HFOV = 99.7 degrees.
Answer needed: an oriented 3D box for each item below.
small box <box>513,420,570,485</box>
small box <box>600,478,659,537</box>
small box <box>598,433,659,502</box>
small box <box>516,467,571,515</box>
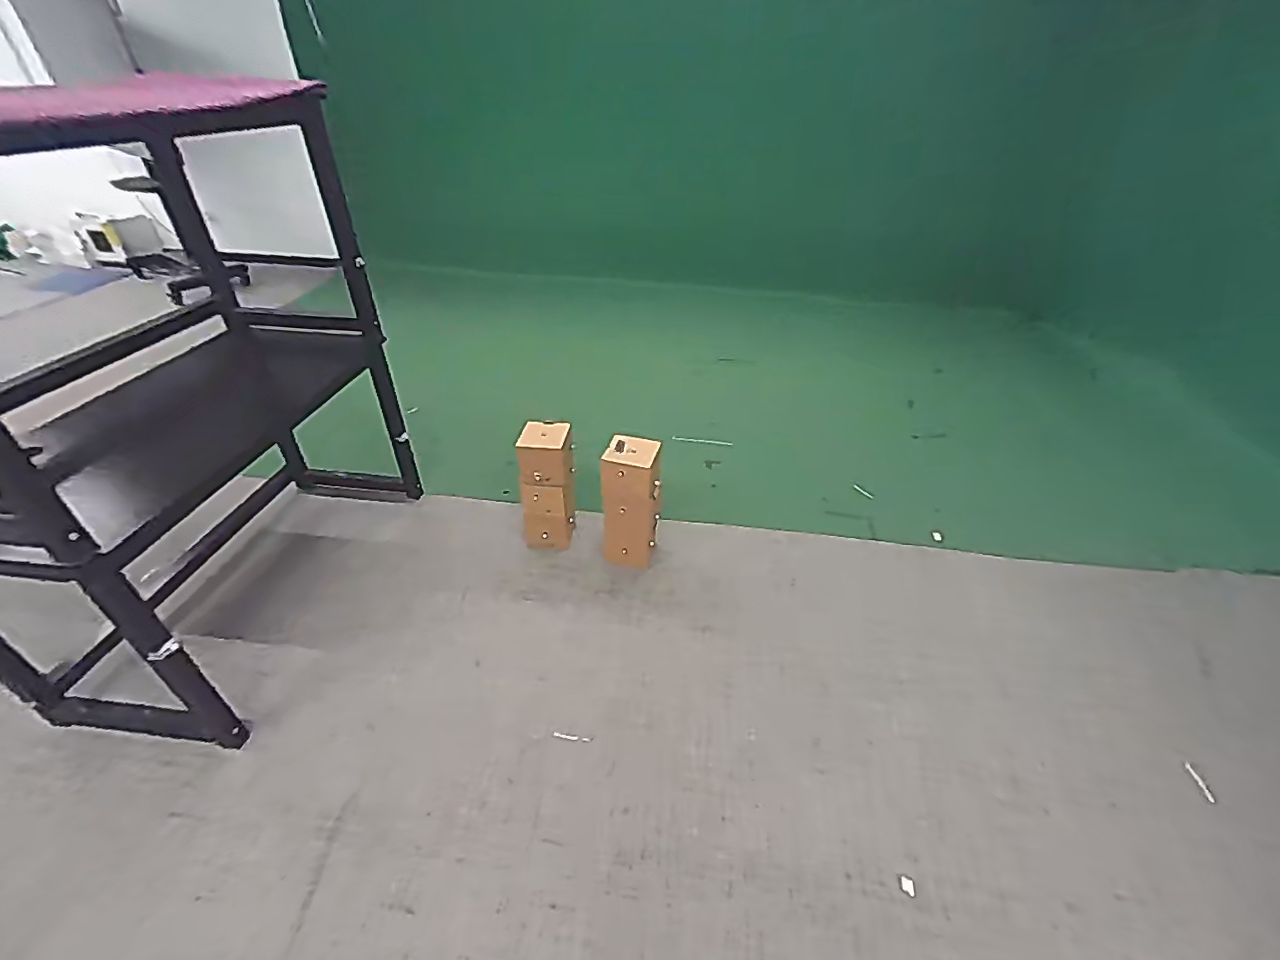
[{"bbox_3d":[-0.353,-0.102,1.979,0.168,0.176,0.179,2,37,3],"label":"small box"},{"bbox_3d":[-0.036,0.088,2.005,0.179,0.176,0.168,12,39,14],"label":"small box"},{"bbox_3d":[-0.040,-0.043,1.906,0.179,0.176,0.168,11,39,12],"label":"small box"},{"bbox_3d":[-0.367,0.019,2.089,0.168,0.176,0.179,5,36,5],"label":"small box"}]
